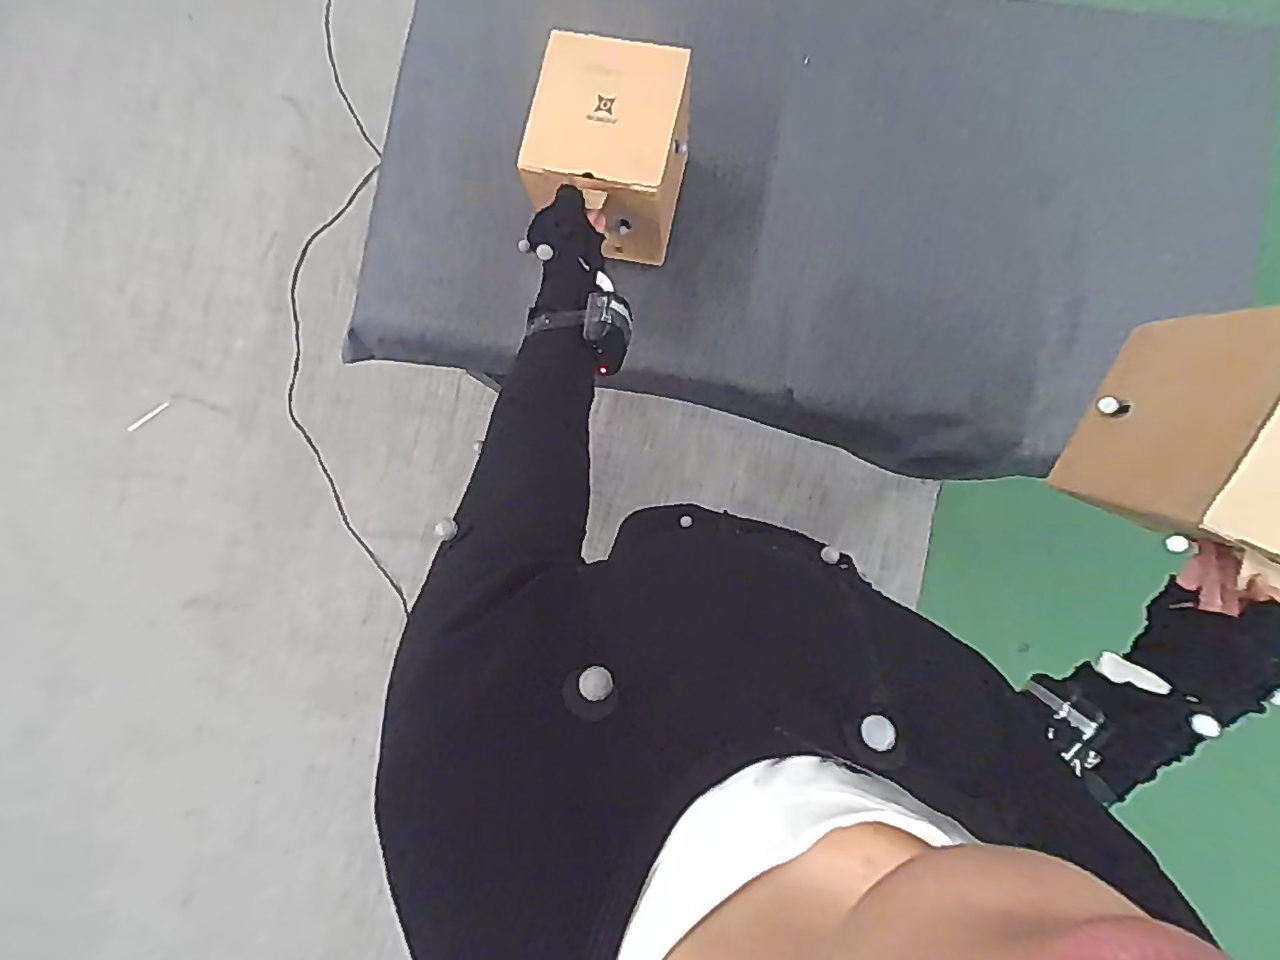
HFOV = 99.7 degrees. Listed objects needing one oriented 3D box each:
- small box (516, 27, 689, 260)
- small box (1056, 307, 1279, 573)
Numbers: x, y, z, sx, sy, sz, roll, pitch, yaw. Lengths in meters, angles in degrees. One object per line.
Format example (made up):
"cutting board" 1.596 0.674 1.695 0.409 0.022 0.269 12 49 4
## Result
"small box" -0.037 -0.406 0.680 0.168 0.176 0.179 12 83 4
"small box" 0.518 -0.029 0.468 0.168 0.176 0.179 23 101 -2
